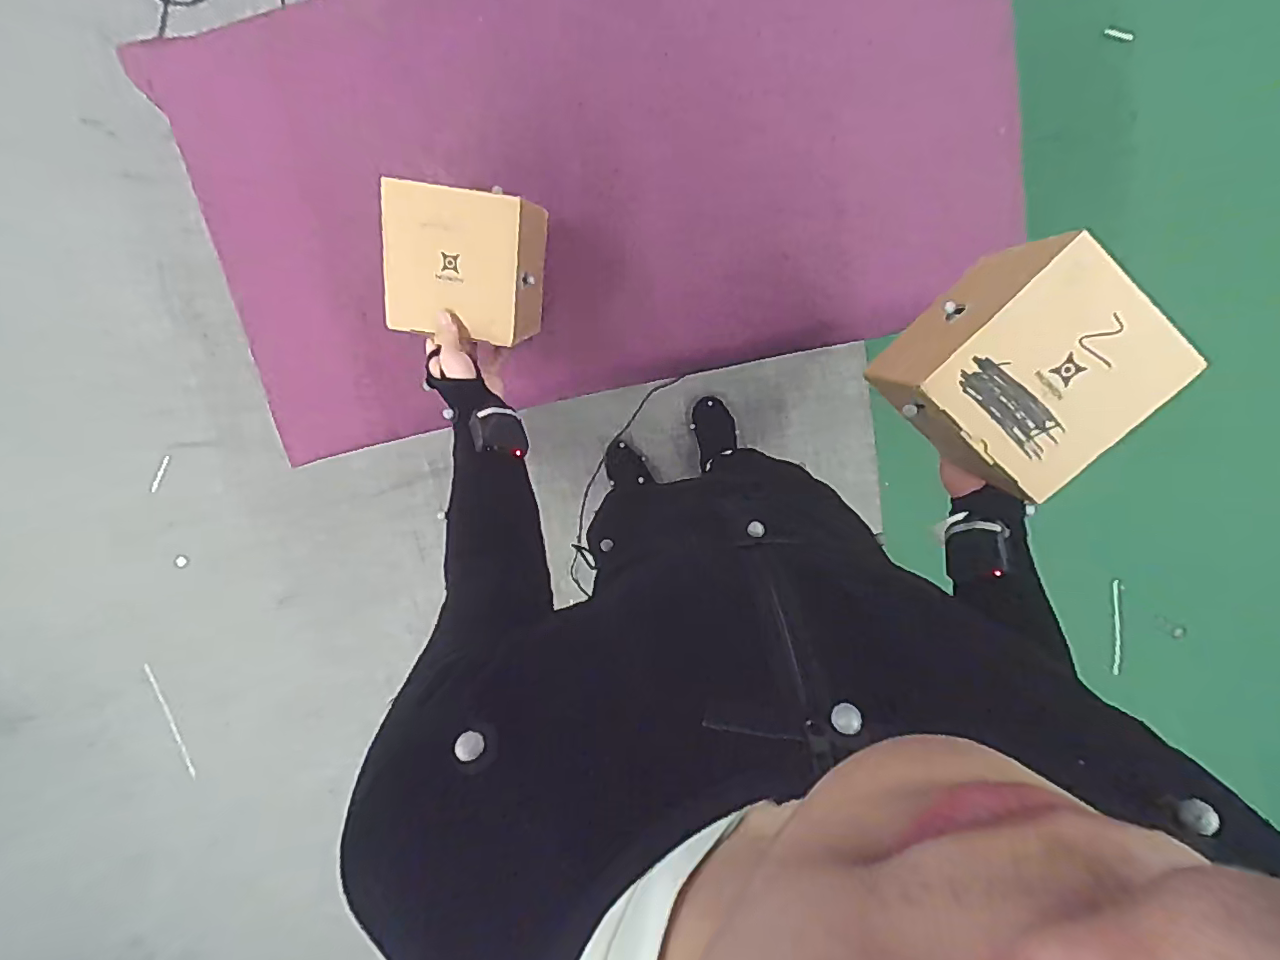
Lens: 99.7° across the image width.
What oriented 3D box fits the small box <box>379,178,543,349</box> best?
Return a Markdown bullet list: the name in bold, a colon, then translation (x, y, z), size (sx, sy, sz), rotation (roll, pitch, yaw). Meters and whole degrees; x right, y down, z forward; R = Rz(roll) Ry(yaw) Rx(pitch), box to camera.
- **small box**: translation (-0.232, -0.291, 0.735), size (0.168, 0.176, 0.179), rotation (9, 112, -1)
